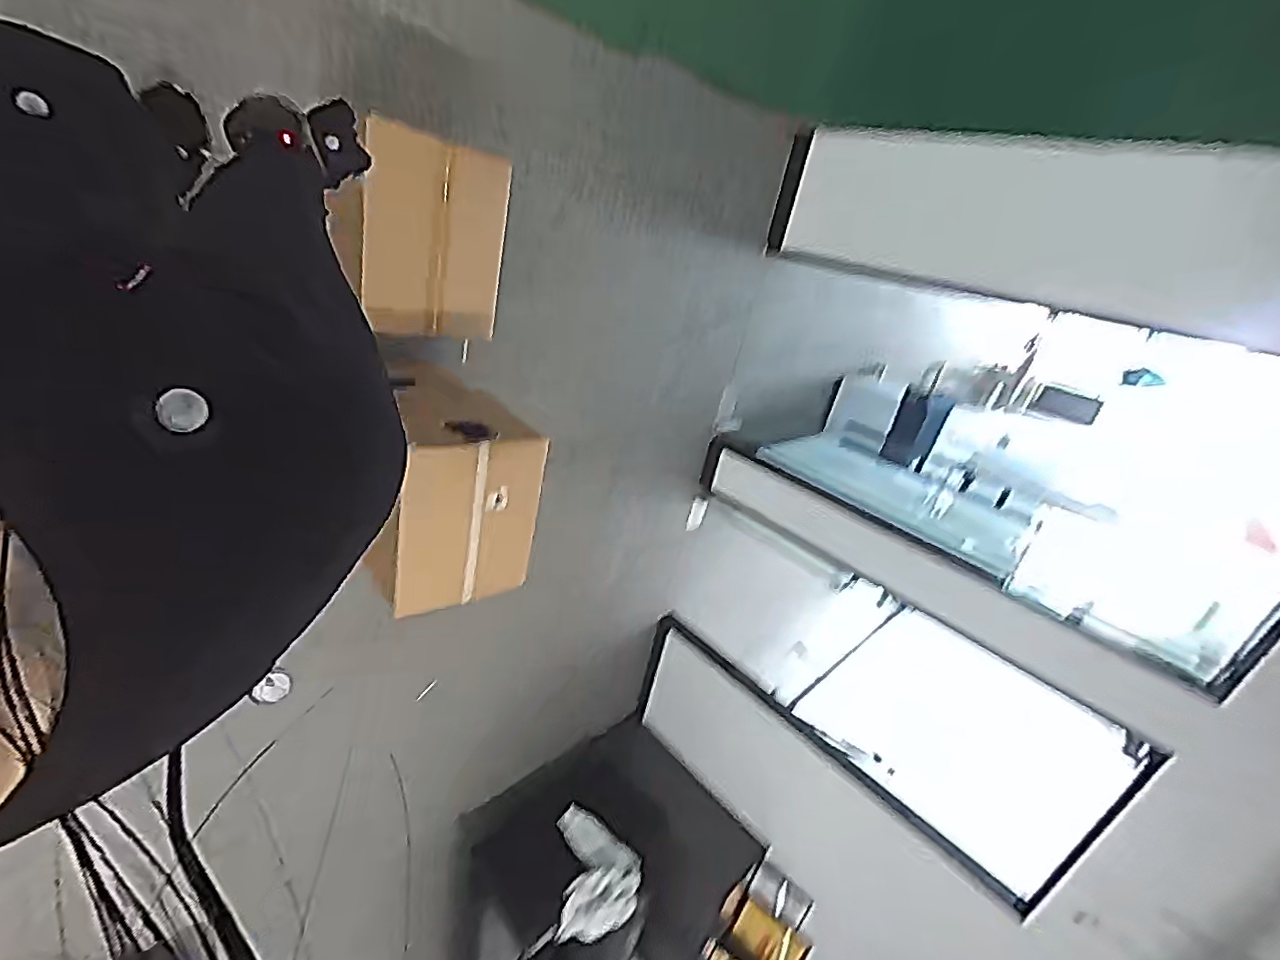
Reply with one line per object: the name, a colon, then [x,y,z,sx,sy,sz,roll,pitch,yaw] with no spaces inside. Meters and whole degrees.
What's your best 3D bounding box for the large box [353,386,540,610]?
large box: [-0.465,0.023,1.259,0.320,0.320,0.408,-7,120,-41]
